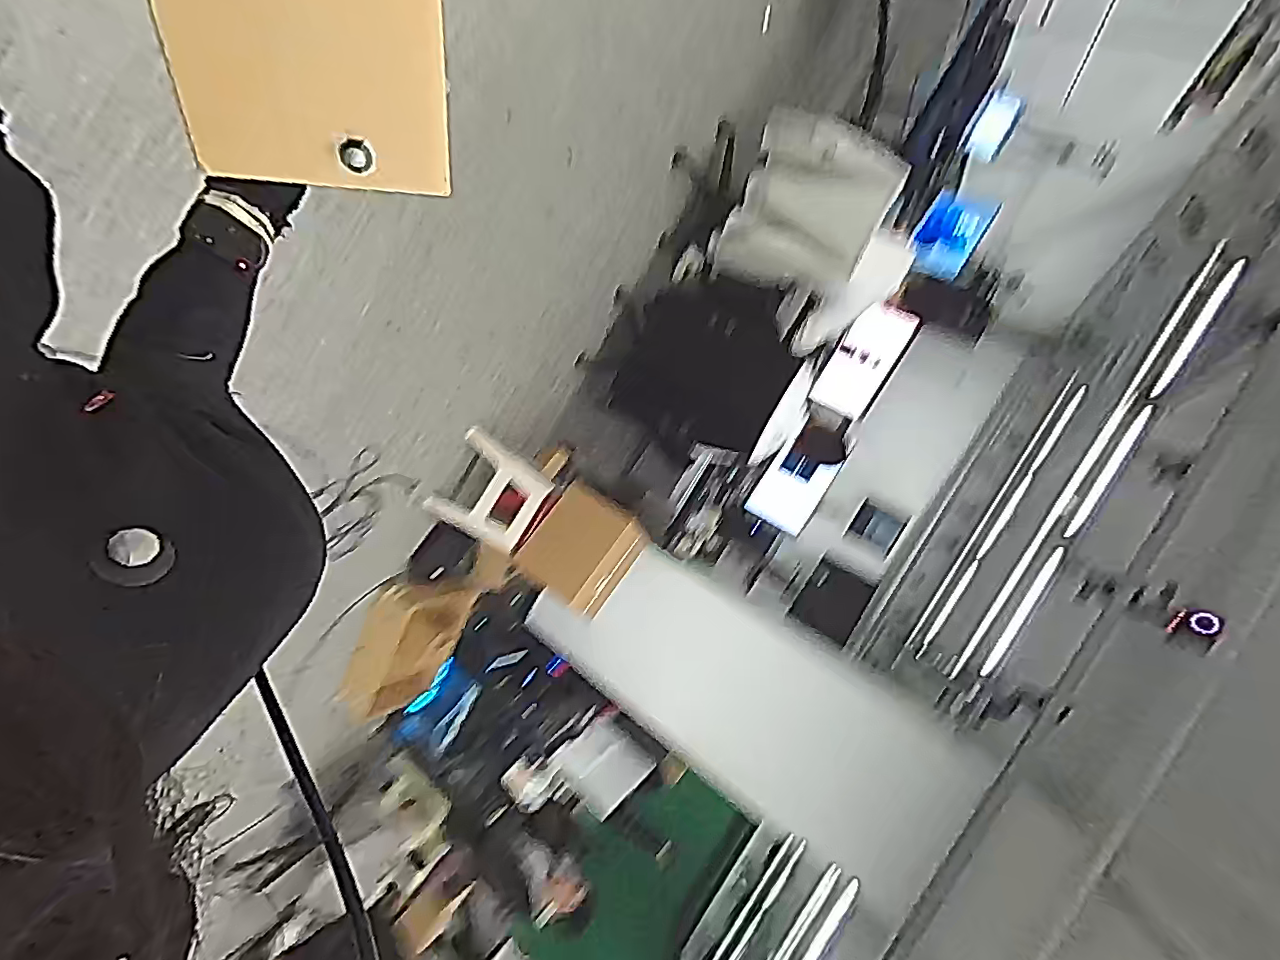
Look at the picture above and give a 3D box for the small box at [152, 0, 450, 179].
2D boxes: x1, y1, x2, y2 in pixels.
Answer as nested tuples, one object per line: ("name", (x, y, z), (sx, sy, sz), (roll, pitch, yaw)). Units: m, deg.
("small box", (-0.241, -0.345, 0.402), (0.168, 0.179, 0.176), (-7, 132, -21))
